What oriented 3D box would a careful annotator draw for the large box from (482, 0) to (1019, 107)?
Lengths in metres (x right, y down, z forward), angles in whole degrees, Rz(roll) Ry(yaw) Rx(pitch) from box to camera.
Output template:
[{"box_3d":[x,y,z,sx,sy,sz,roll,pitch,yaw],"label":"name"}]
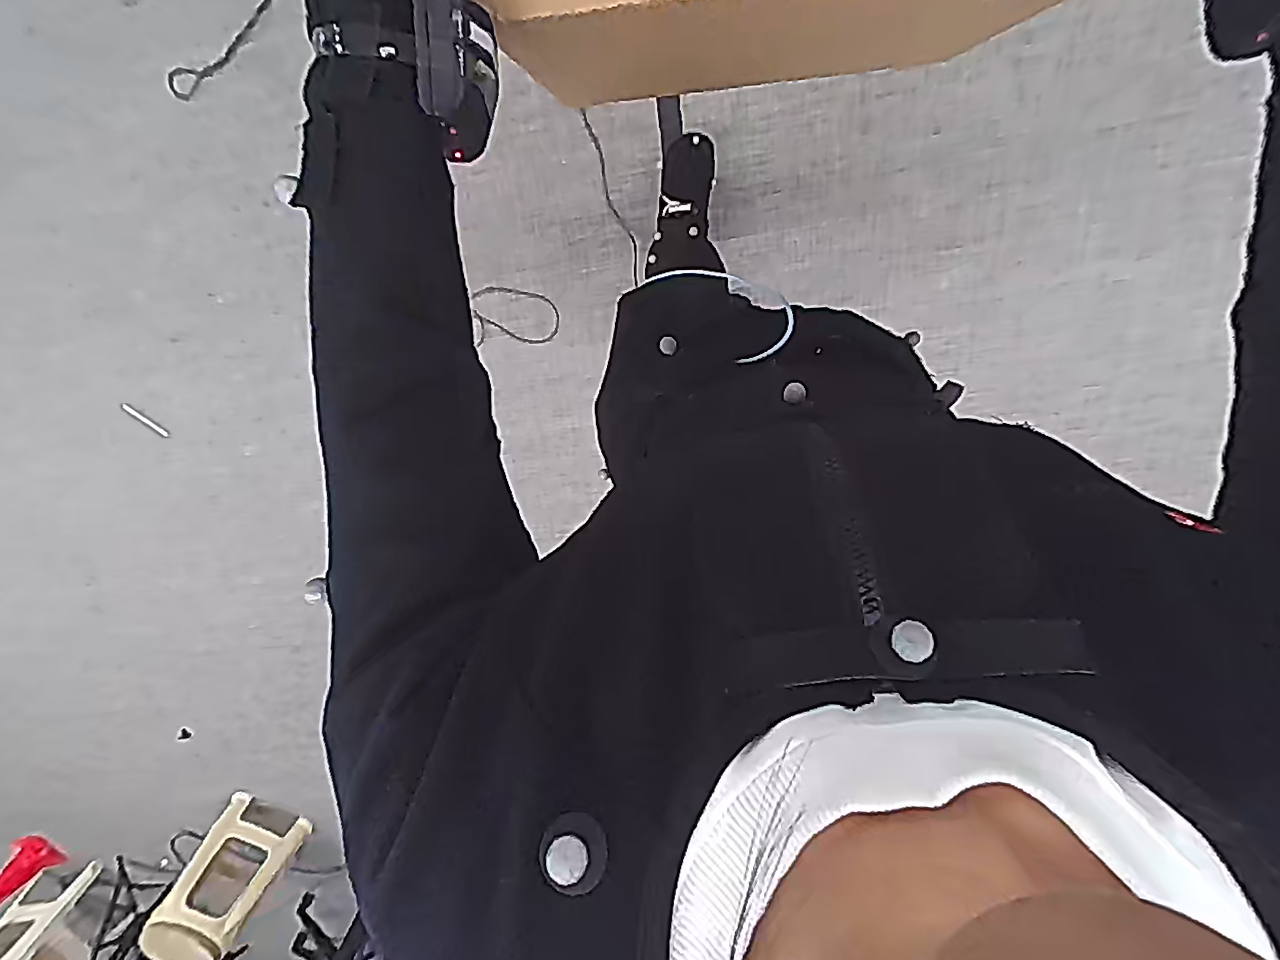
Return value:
[{"box_3d":[0.088,-0.490,0.371,0.408,0.320,0.320,-5,117,4],"label":"large box"}]
